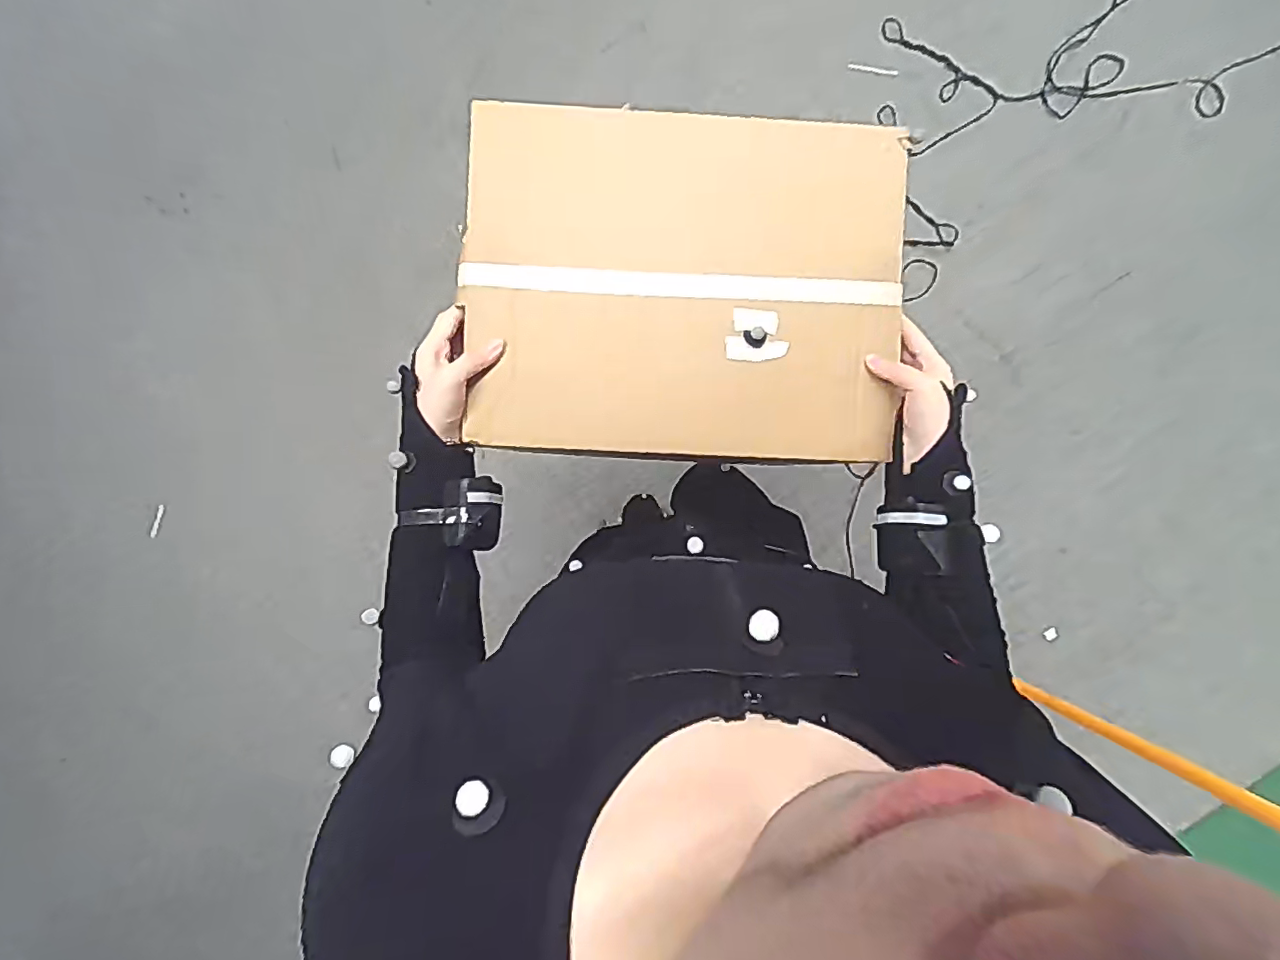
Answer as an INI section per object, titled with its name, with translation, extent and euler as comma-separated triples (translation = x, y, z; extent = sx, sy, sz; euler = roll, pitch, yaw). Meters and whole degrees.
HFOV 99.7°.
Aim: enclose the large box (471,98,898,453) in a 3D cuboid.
[large box]
translation = 0.035, -0.196, 0.656
extent = 0.408, 0.320, 0.320
euler = 2, 92, -3
